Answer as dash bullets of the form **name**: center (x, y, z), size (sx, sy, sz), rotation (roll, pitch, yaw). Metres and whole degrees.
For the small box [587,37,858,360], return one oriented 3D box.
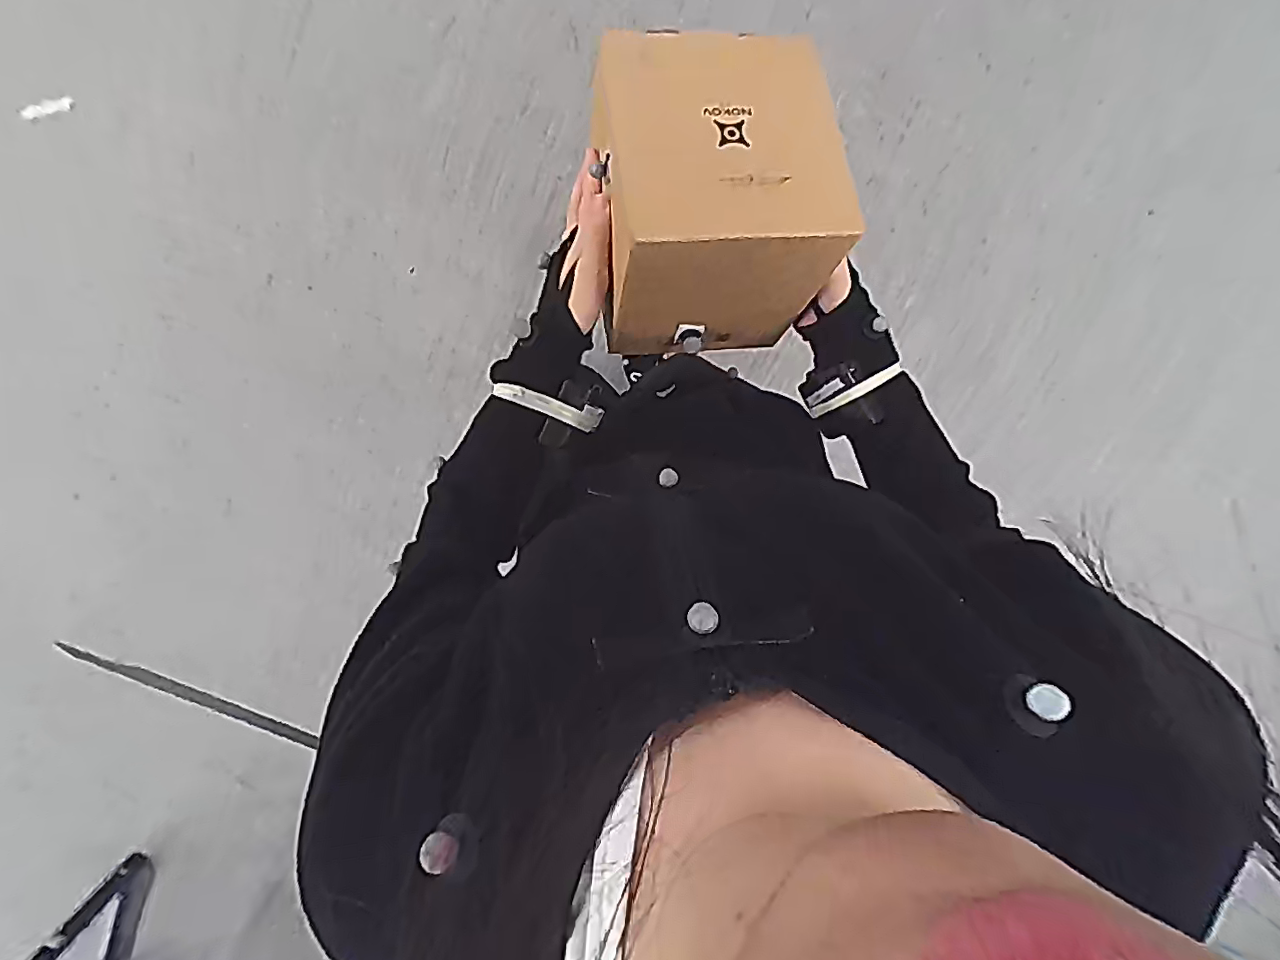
- **small box**: center (0.049, -0.222, 0.459), size (0.168, 0.176, 0.179), rotation (-7, 78, -10)
